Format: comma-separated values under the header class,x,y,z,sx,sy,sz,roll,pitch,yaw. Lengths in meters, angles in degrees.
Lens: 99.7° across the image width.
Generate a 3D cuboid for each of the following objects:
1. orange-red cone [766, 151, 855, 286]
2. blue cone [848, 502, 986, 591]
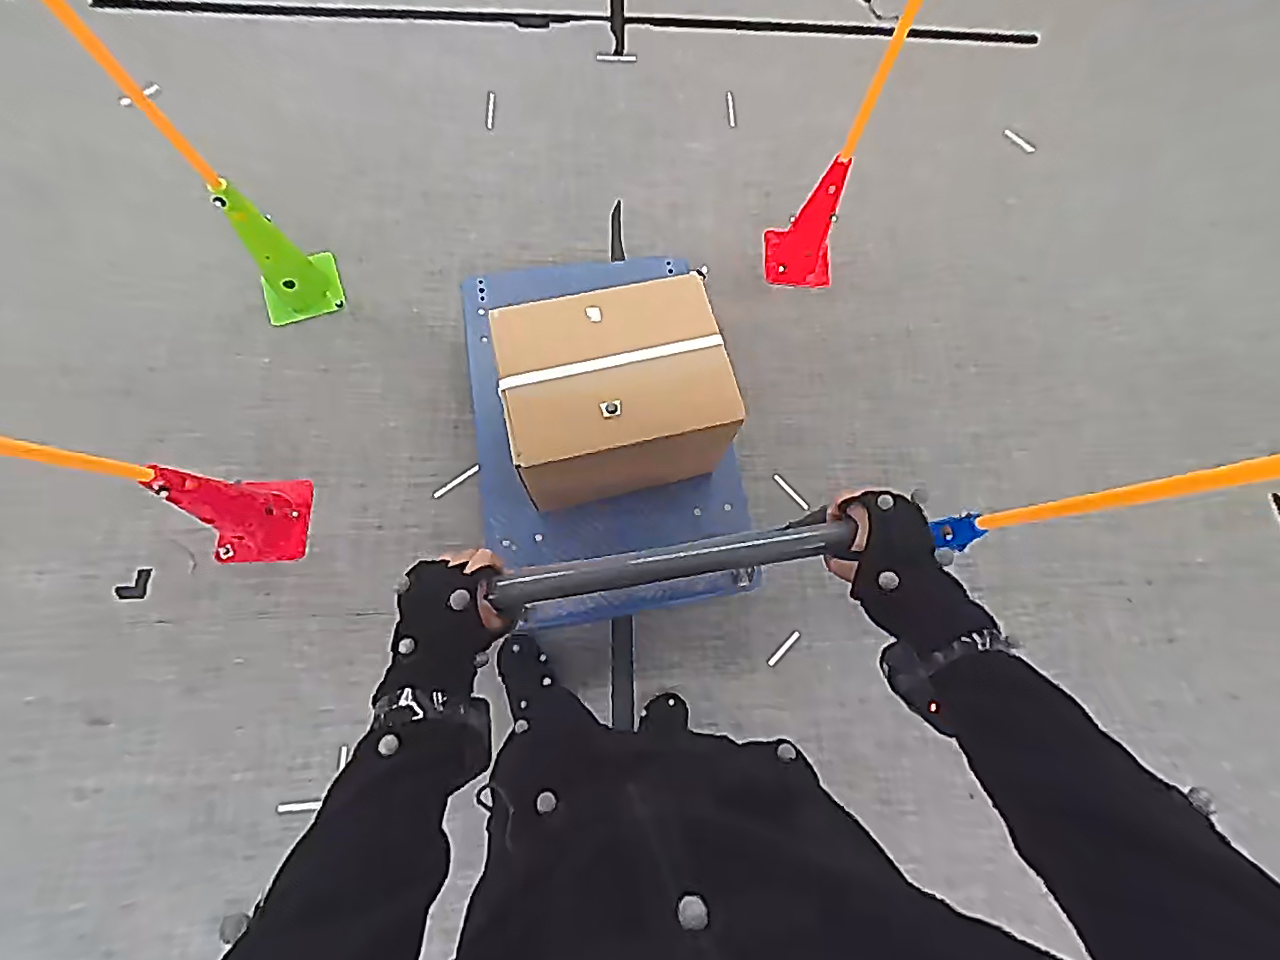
class,x,y,z,sx,sy,sz,roll,pitch,yaw
orange-red cone,0.495,-0.731,1.476,0.199,0.360,0.198,6,72,-3
blue cone,0.648,0.130,1.221,0.193,0.380,0.192,-4,71,-6
